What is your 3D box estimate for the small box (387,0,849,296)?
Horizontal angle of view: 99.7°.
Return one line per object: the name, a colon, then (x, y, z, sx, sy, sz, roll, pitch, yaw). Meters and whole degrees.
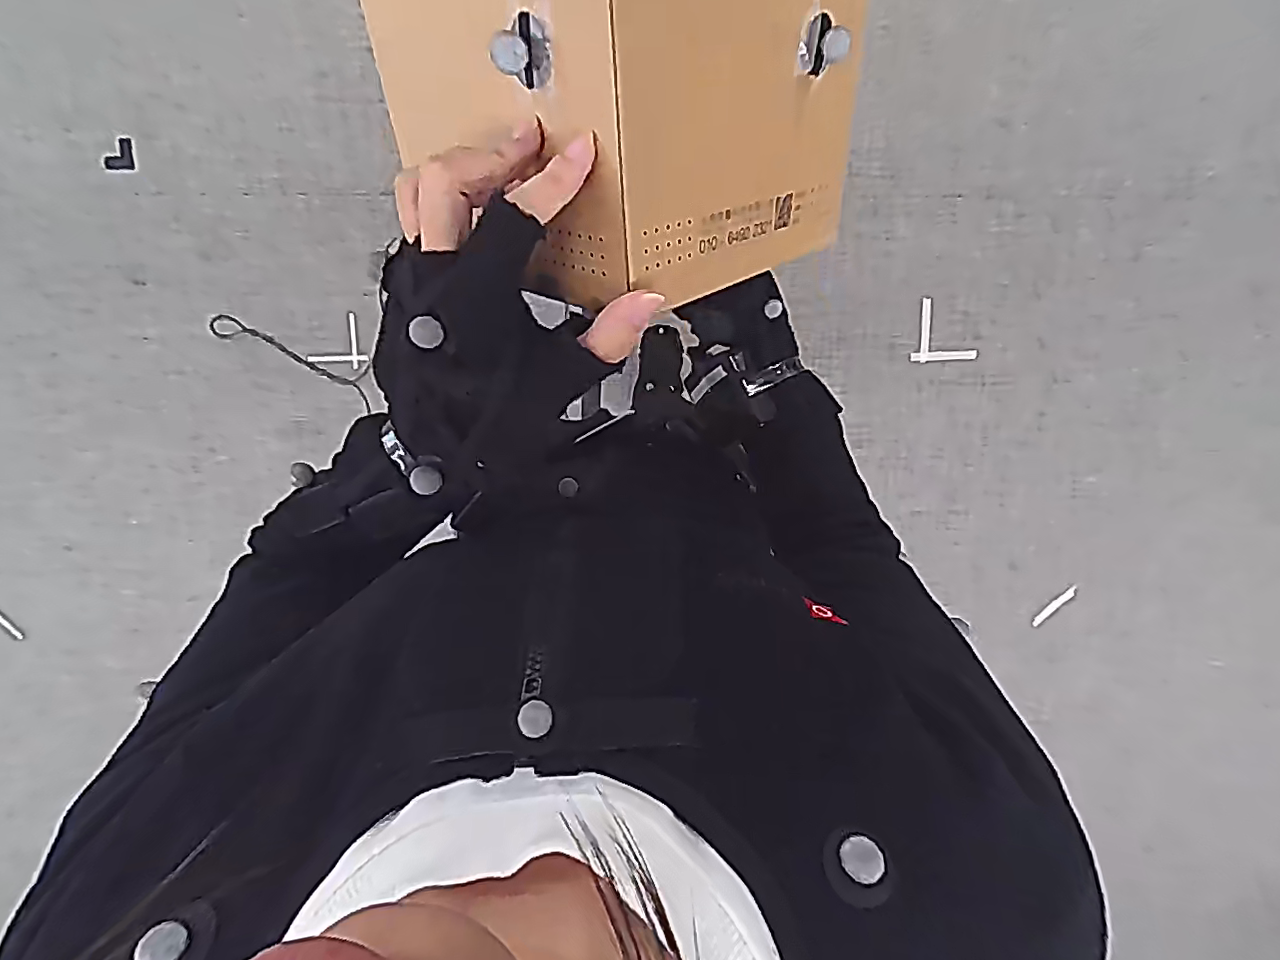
small box: (-0.006, -0.206, 0.282, 0.168, 0.179, 0.176, -31, 133, -33)
